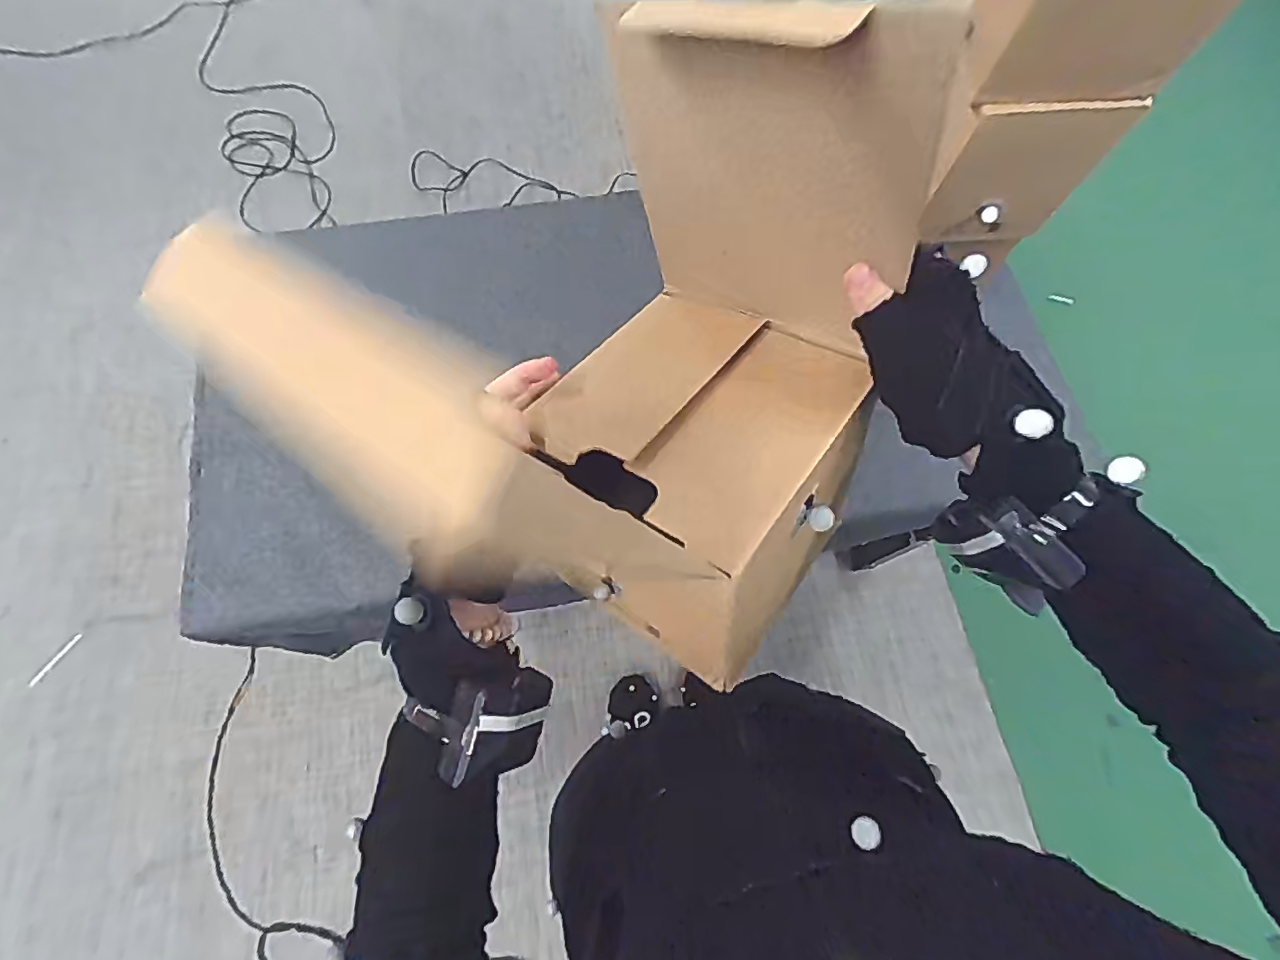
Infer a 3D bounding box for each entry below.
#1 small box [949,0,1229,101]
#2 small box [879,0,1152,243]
[{"bbox_3d":[0.389,-0.453,0.452,0.179,0.176,0.168,-1,71,-1],"label":"small box"},{"bbox_3d":[0.392,-0.397,0.606,0.168,0.176,0.179,-4,71,-1],"label":"small box"}]
